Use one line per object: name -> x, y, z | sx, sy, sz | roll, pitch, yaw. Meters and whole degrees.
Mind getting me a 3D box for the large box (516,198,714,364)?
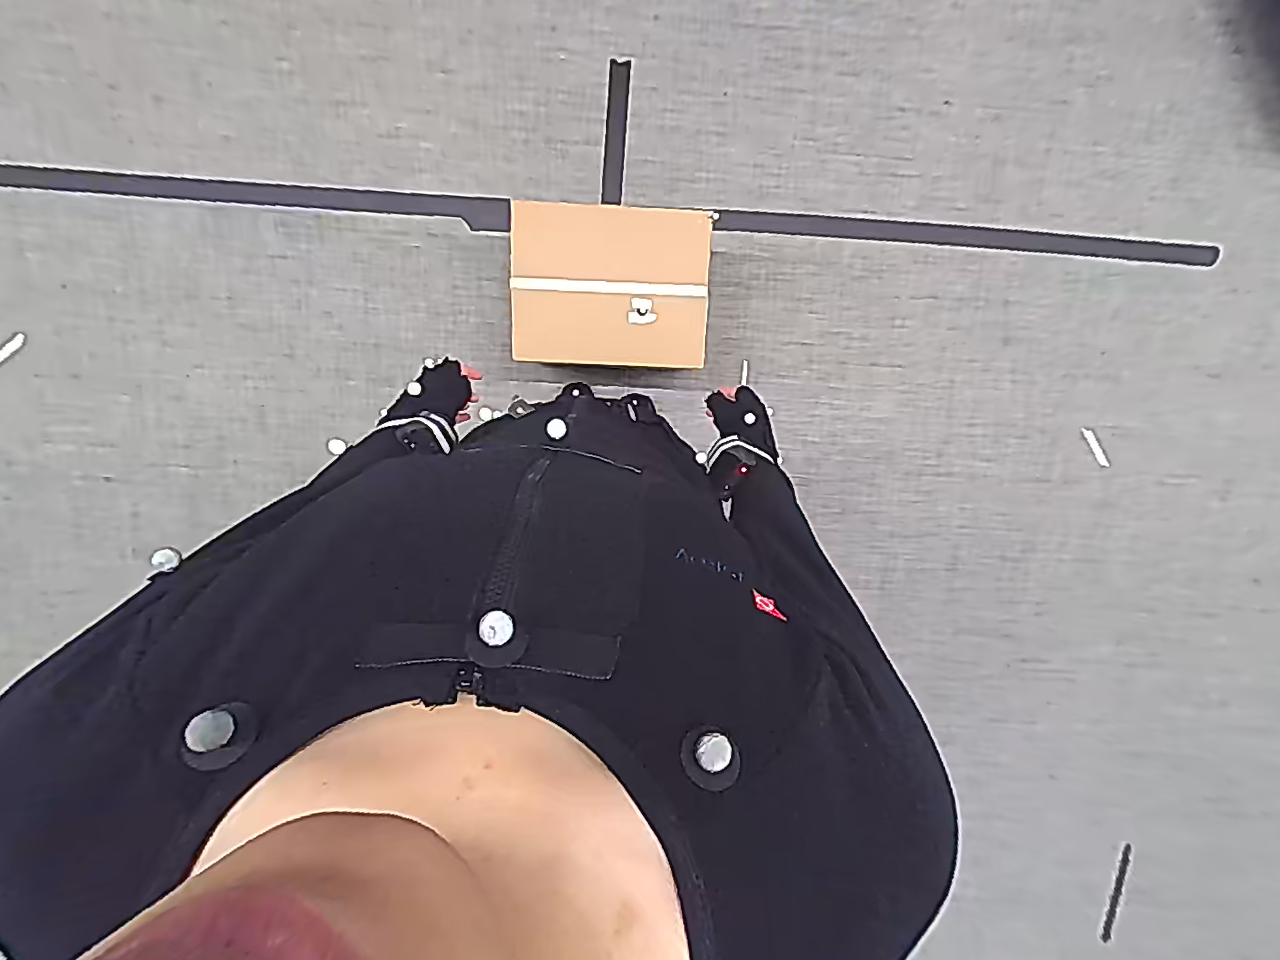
large box -> -0.061, -0.432, 1.250 | 0.408, 0.320, 0.320 | 1, 102, -4
